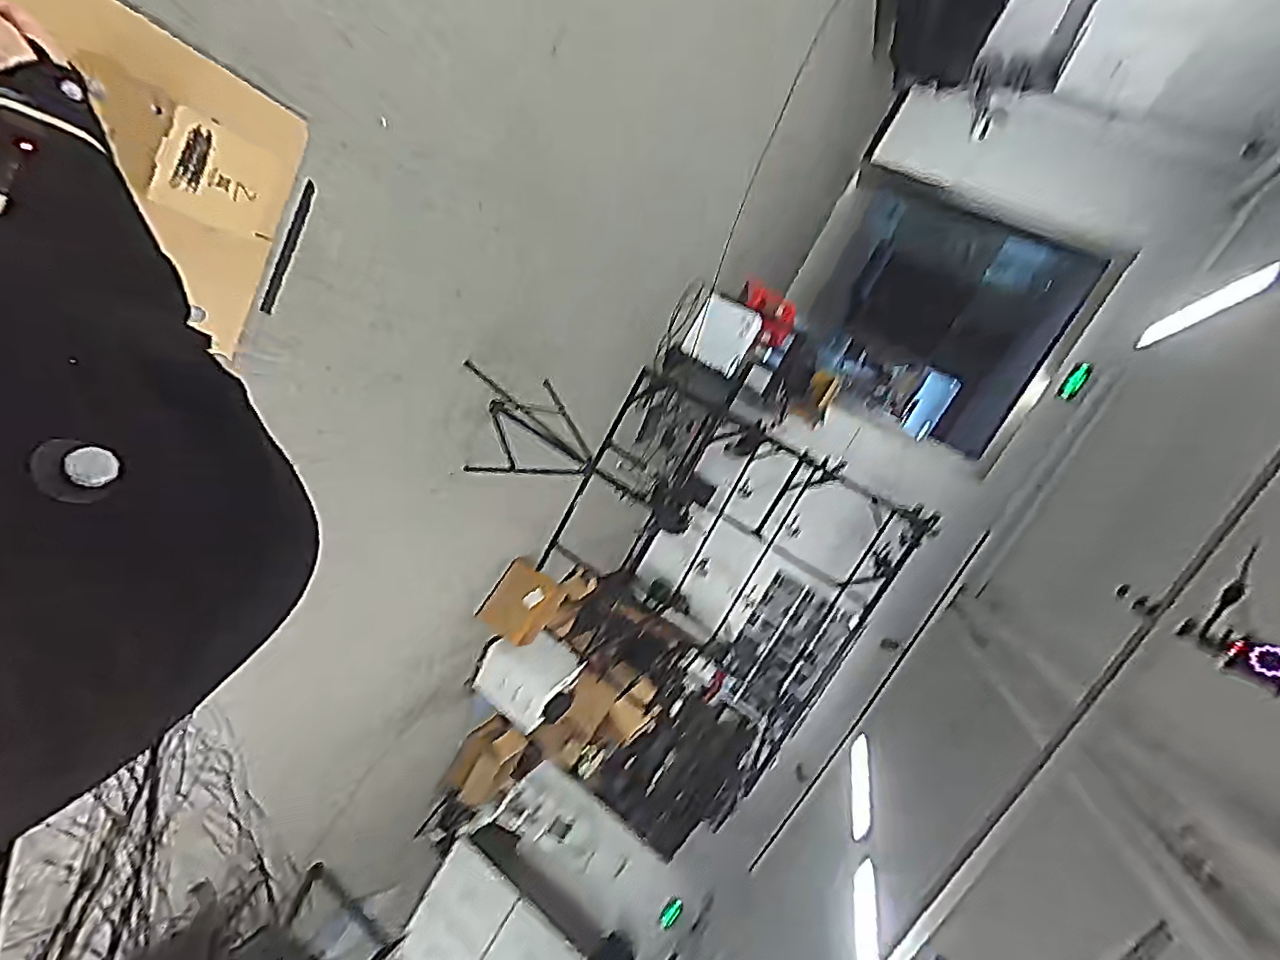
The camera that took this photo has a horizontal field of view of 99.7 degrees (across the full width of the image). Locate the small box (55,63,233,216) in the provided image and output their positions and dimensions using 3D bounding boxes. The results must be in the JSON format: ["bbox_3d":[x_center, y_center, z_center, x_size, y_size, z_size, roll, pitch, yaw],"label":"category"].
[{"bbox_3d":[-0.943,-0.647,1.028,0.168,0.176,0.179,-59,163,8],"label":"small box"}]
